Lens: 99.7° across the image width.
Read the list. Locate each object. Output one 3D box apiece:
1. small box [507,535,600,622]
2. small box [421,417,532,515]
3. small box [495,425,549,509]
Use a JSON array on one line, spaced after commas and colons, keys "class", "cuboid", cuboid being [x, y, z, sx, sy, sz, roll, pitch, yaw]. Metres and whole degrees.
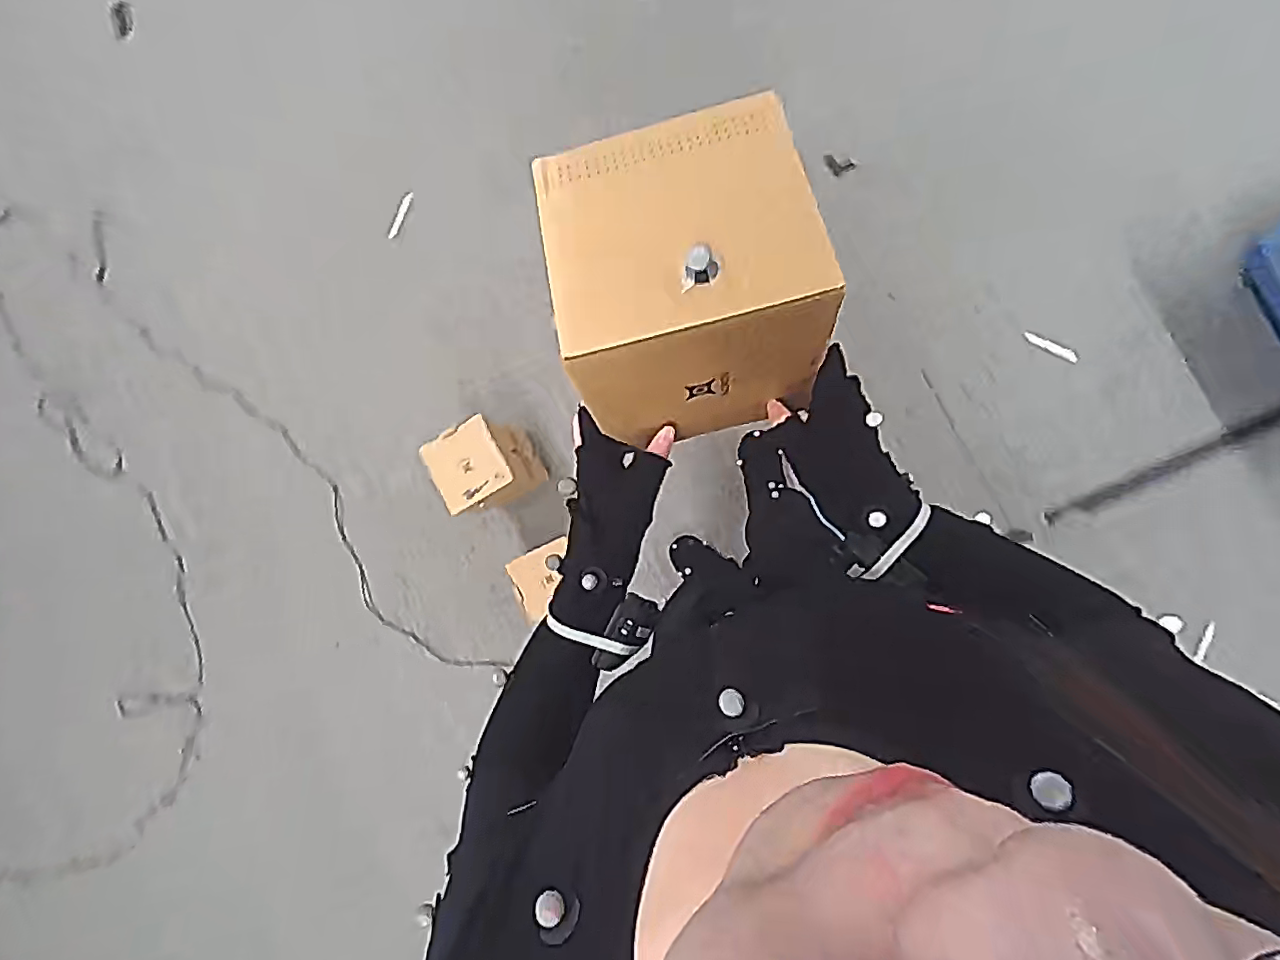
[{"class": "small box", "cuboid": [-0.224, 0.257, 1.447, 0.179, 0.176, 0.168, -26, 87, 3]}, {"class": "small box", "cuboid": [-0.386, -0.026, 1.303, 0.168, 0.176, 0.179, -30, 85, 3]}, {"class": "small box", "cuboid": [-0.373, -0.026, 1.468, 0.179, 0.176, 0.168, -29, 86, 3]}]
